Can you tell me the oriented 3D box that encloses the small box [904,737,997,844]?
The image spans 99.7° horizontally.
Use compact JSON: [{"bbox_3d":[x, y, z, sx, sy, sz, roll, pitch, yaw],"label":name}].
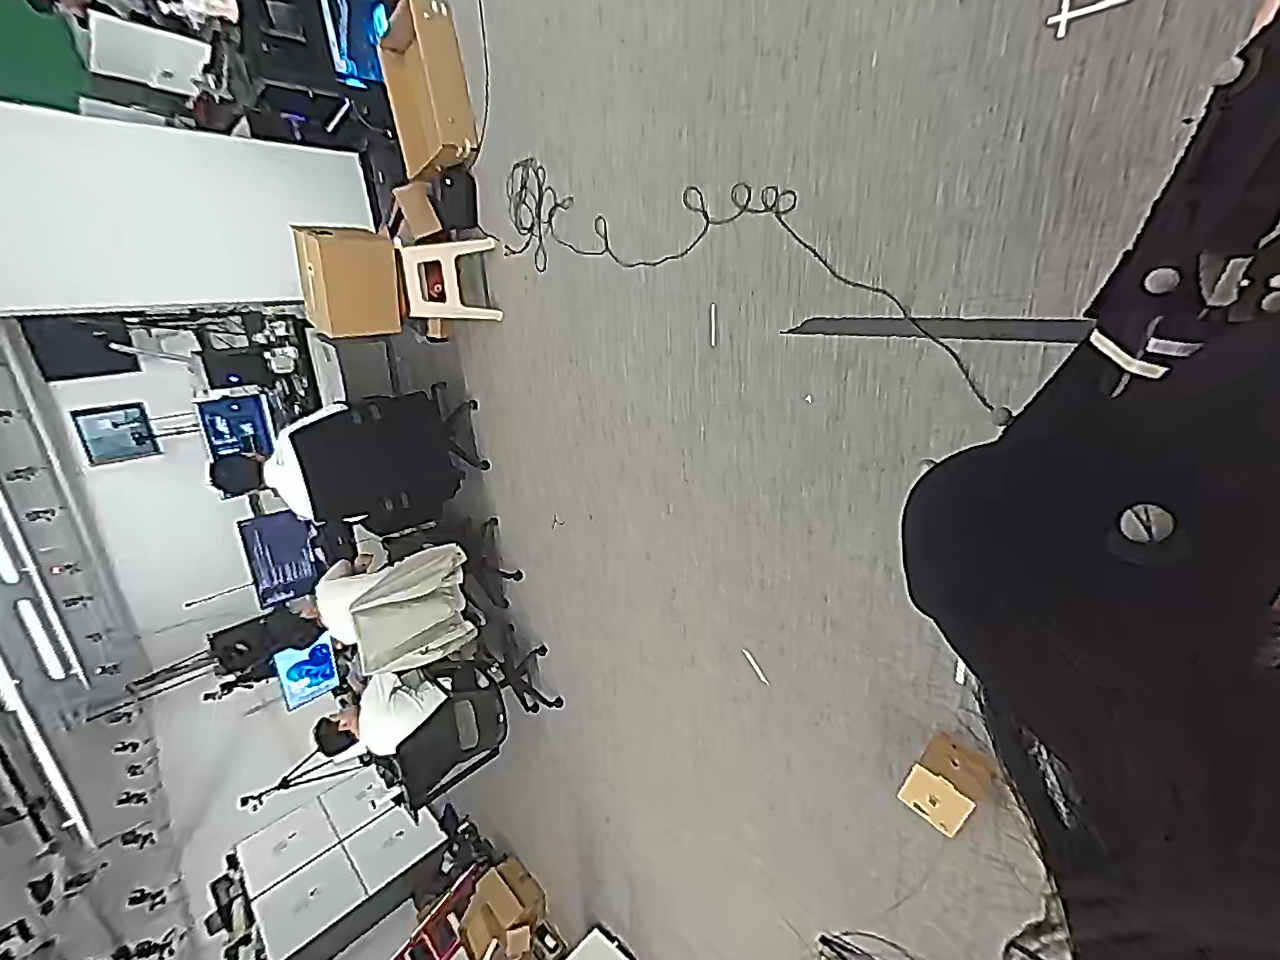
[{"bbox_3d":[0.917,0.902,1.589,0.168,0.176,0.179,32,126,37],"label":"small box"}]
